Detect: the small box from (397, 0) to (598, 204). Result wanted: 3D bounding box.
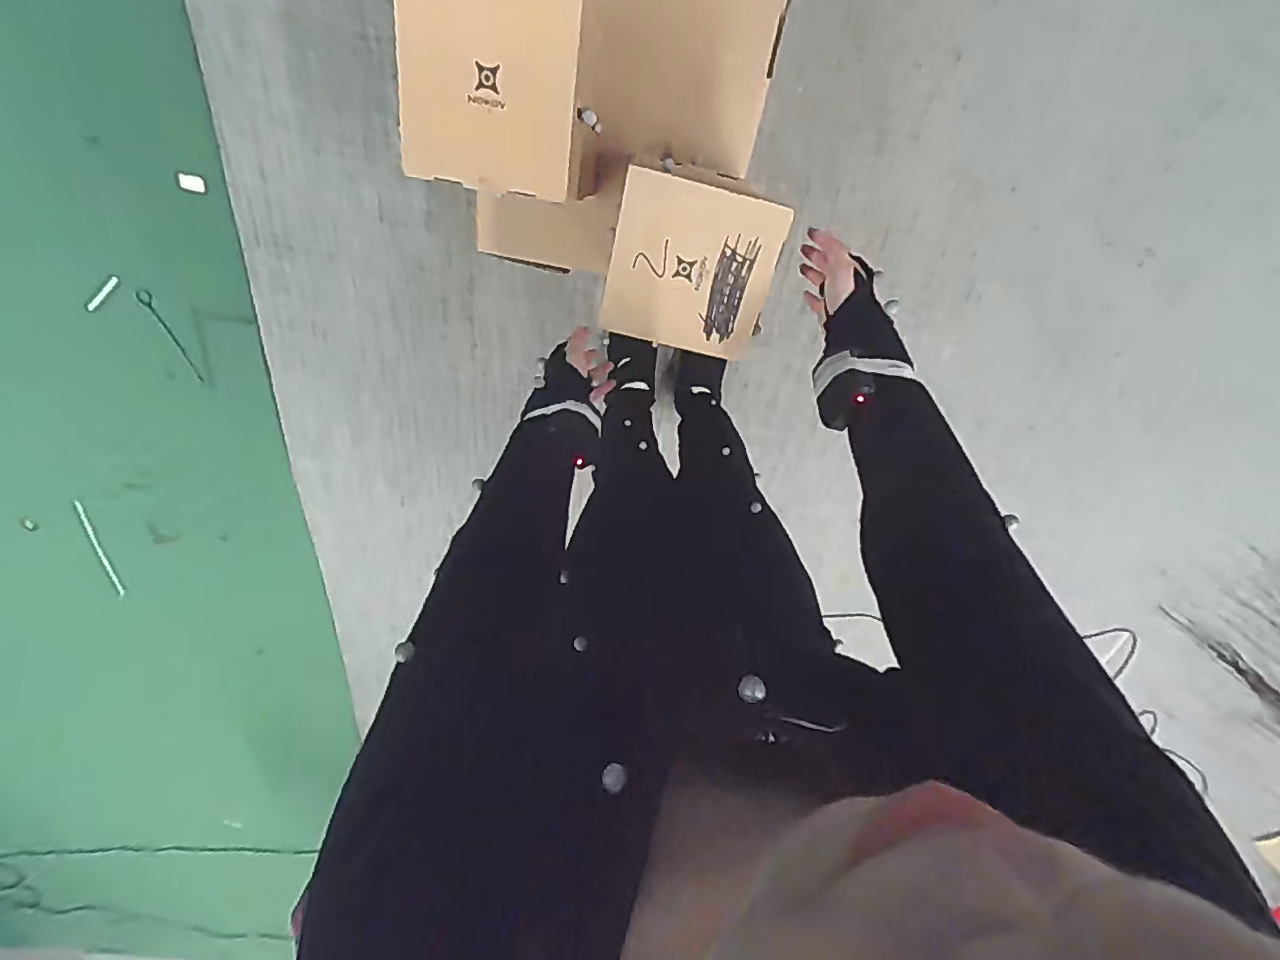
[{"bbox_3d":[-0.139,-0.408,0.569,0.168,0.176,0.179,10,121,-4],"label":"small box"}]

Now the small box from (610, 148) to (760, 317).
[{"bbox_3d":[0.055,-0.355,0.779,0.168,0.176,0.179,11,118,-5],"label":"small box"}]
